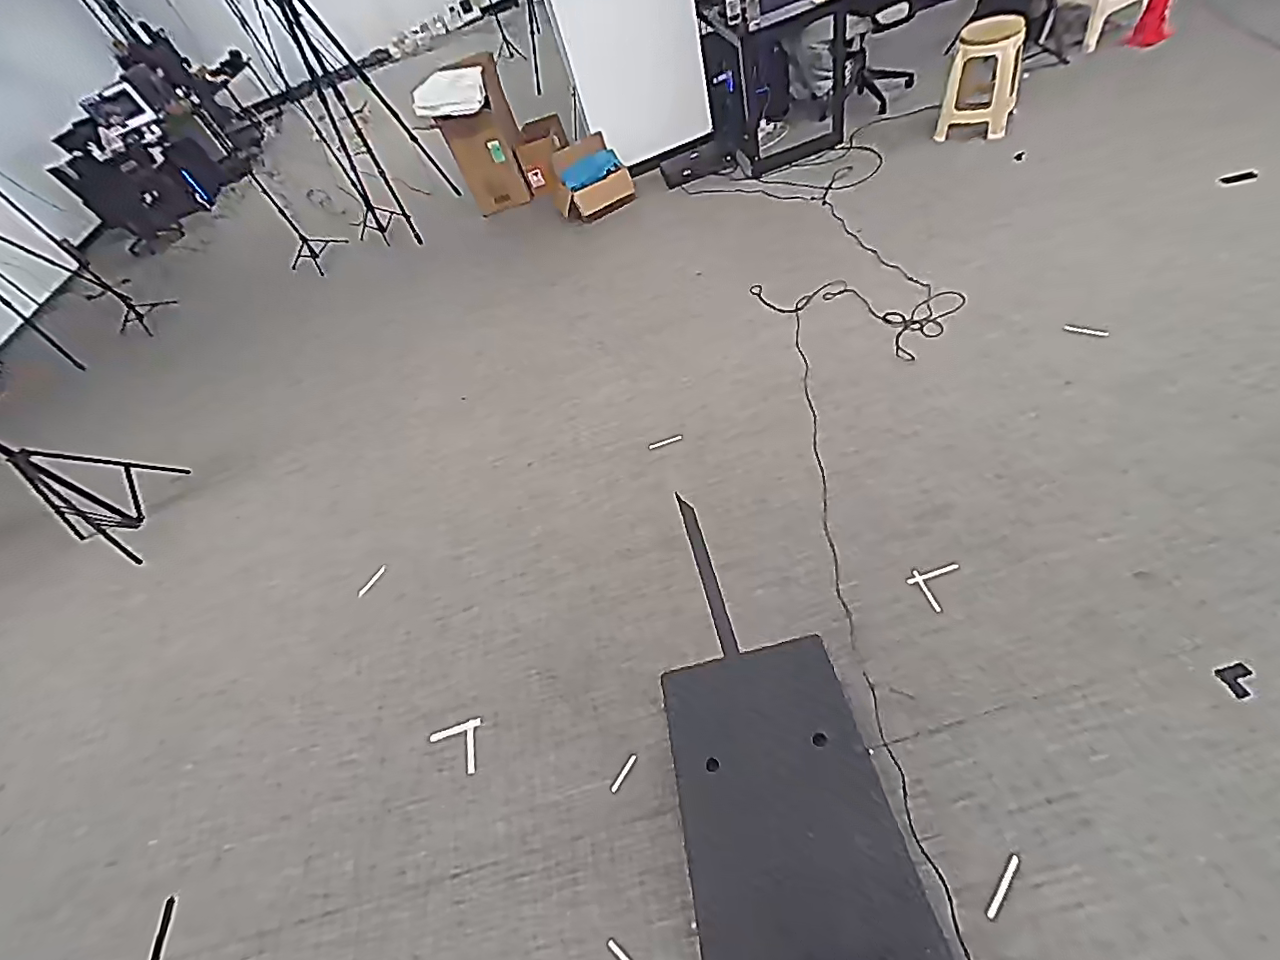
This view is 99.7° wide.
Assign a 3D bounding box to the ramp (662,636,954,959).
[{"bbox_3d":[0.346,0.845,1.240,0.509,0.206,0.991,-19,49,6],"label":"ramp"}]
